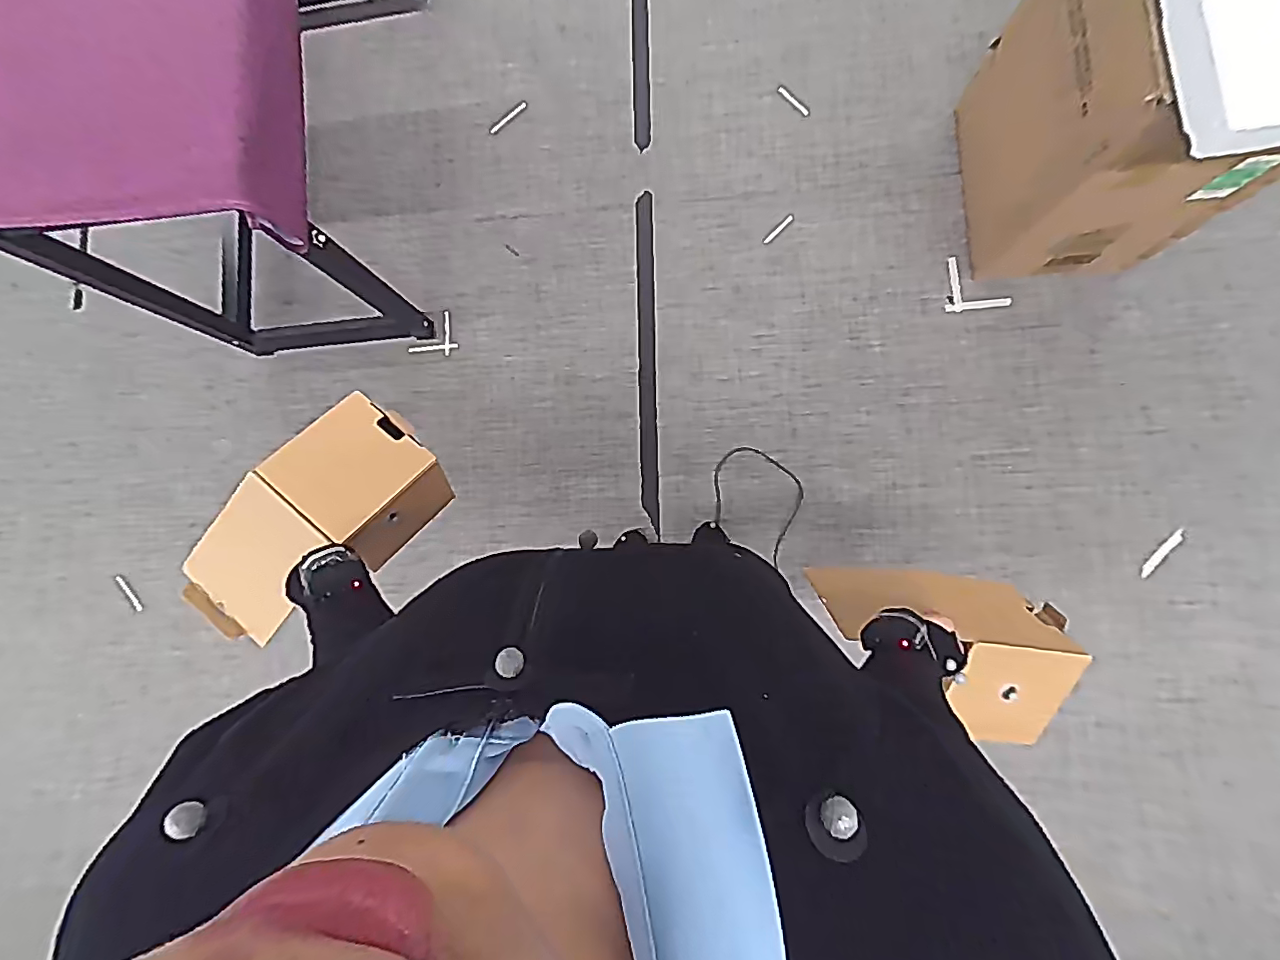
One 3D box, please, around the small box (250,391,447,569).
[{"bbox_3d":[-0.414,0.009,0.808,0.168,0.176,0.179,39,67,6],"label":"small box"}]
